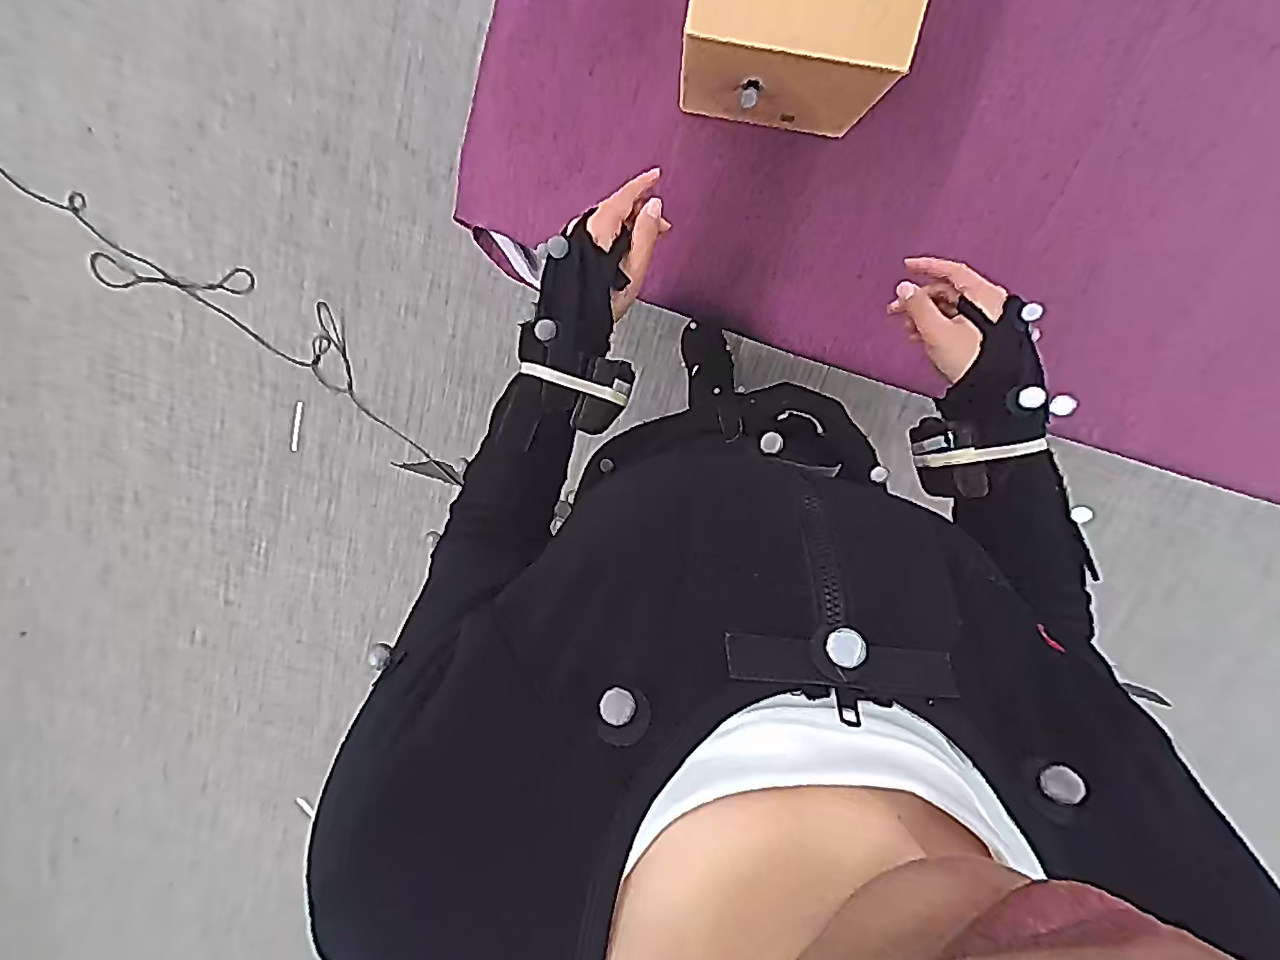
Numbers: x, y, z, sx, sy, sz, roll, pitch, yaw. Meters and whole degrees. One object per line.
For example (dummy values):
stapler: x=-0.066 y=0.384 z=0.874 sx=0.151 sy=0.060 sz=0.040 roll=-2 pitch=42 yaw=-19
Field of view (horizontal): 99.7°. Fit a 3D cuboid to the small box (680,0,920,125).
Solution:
small box: x=0.129 y=-0.418 z=0.438 sx=0.168 sy=0.176 sz=0.179 roll=10 pitch=107 yaw=1
